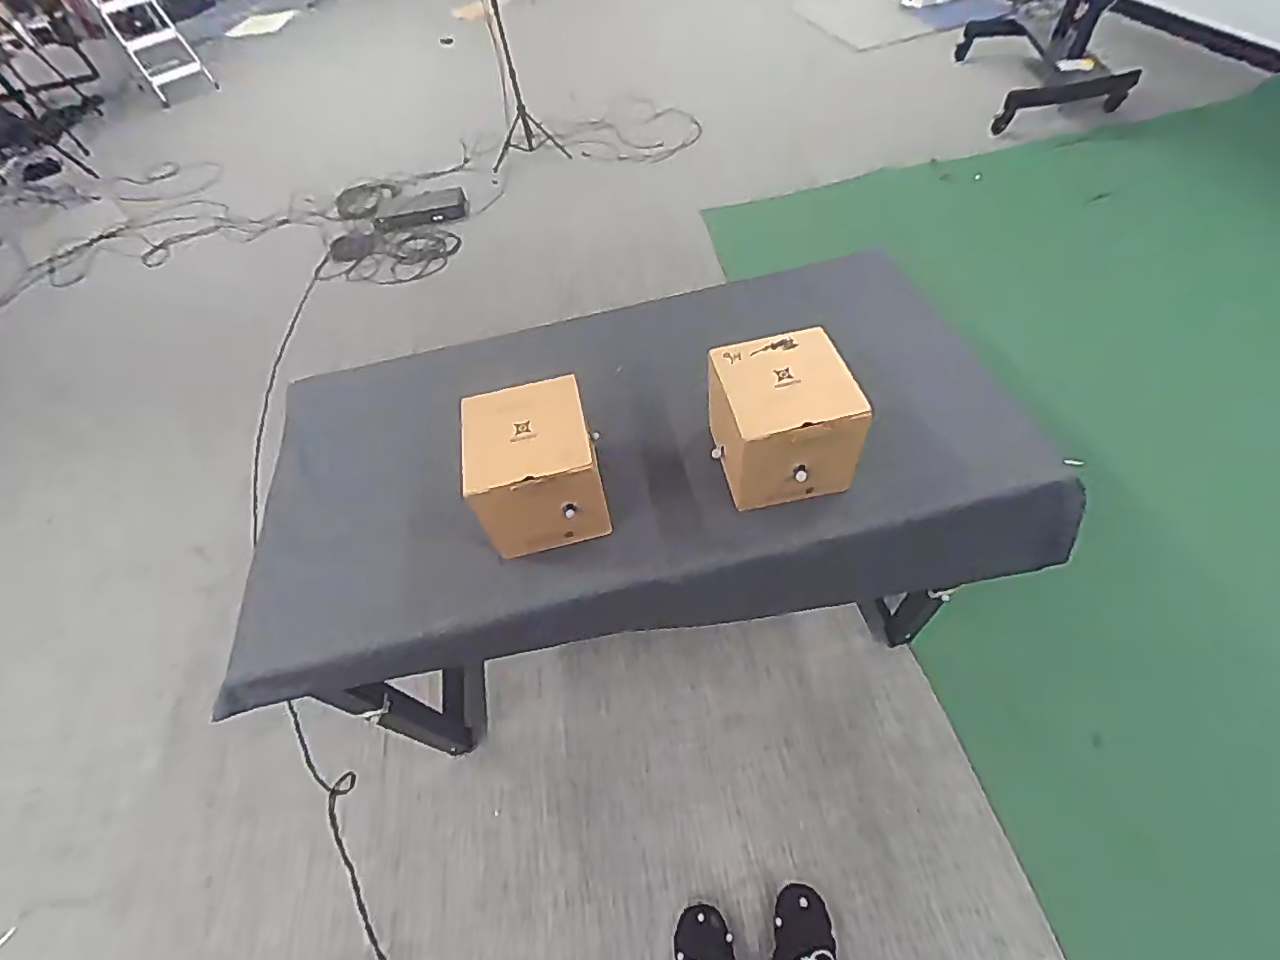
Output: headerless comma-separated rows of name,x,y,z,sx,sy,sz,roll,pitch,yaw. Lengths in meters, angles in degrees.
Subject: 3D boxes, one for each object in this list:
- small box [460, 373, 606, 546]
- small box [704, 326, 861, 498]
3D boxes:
small box,-0.151,-0.022,0.784,0.168,0.176,0.179,-13,52,-4
small box,0.194,-0.090,0.787,0.168,0.176,0.179,-12,55,-1
